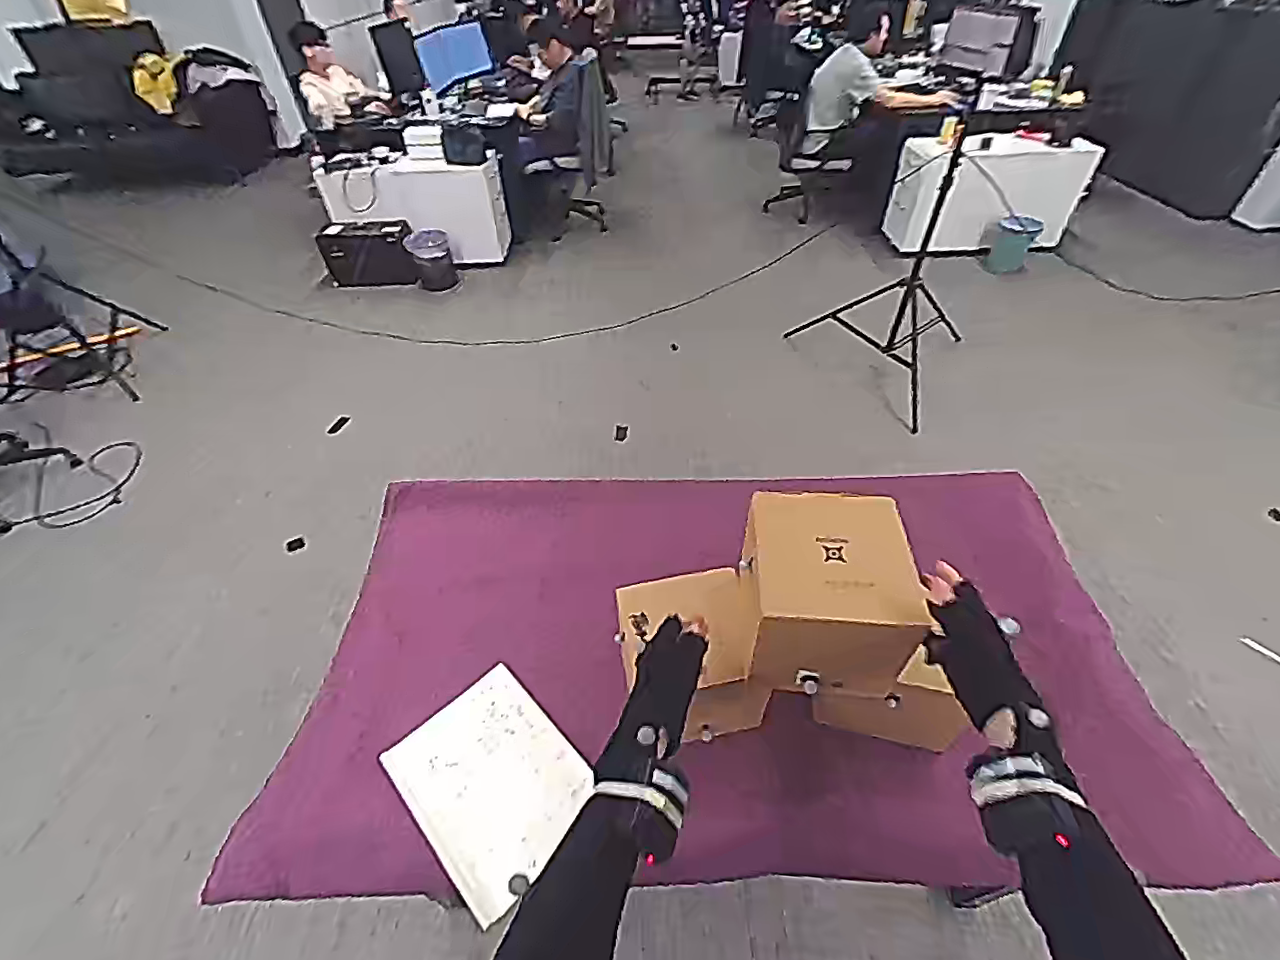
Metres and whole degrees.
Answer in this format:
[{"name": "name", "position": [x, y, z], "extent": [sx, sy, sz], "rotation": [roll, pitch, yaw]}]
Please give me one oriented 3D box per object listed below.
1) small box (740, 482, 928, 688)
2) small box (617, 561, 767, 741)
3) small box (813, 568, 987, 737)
[{"name": "small box", "position": [0.210, 0.122, 0.644], "extent": [0.168, 0.176, 0.179], "rotation": [1, 45, 6]}, {"name": "small box", "position": [0.068, 0.241, 0.763], "extent": [0.179, 0.176, 0.168], "rotation": [-9, 44, -8]}, {"name": "small box", "position": [0.345, 0.233, 0.756], "extent": [0.179, 0.176, 0.168], "rotation": [9, 46, 12]}]
